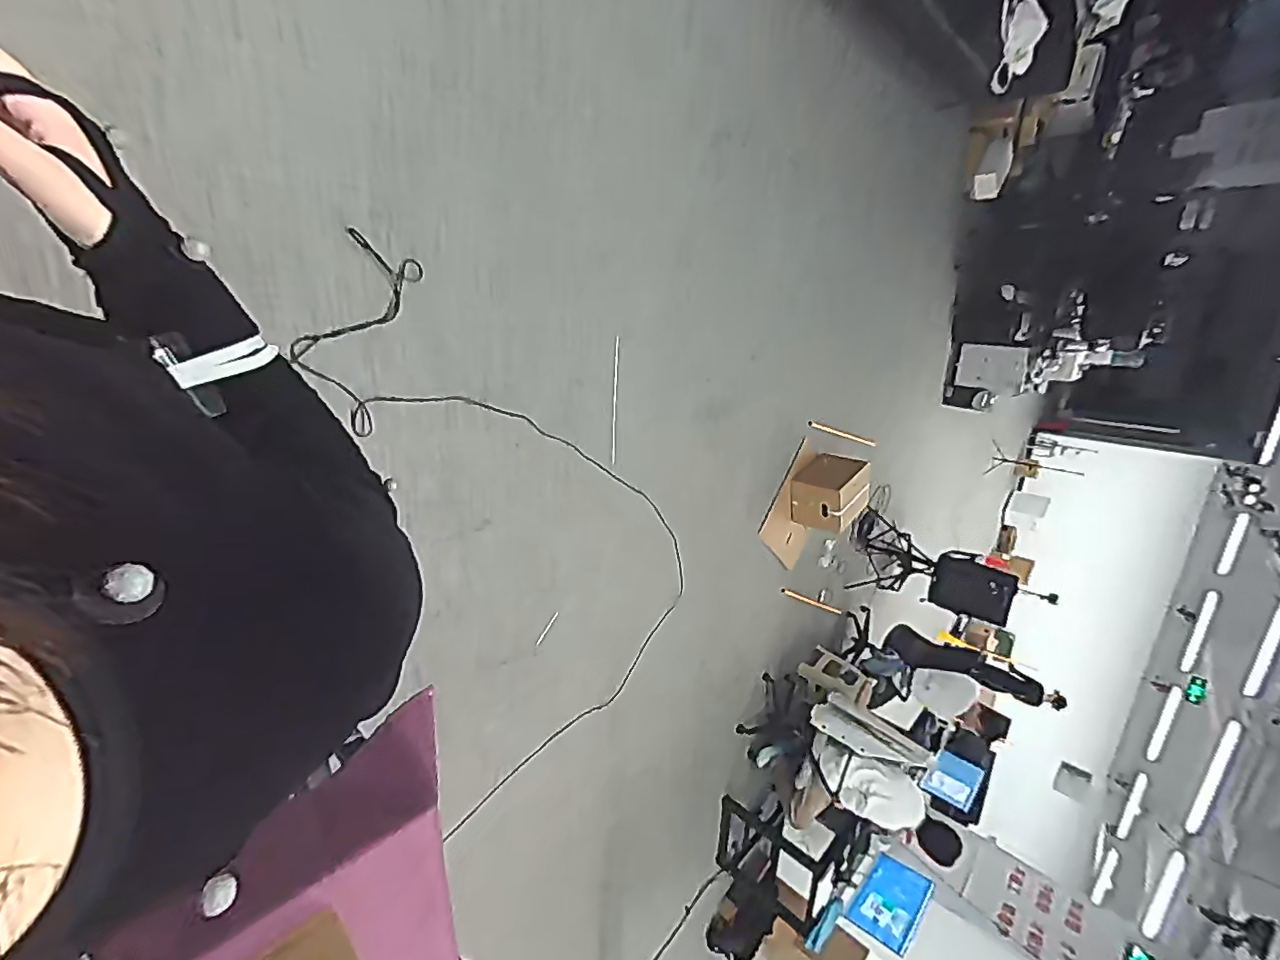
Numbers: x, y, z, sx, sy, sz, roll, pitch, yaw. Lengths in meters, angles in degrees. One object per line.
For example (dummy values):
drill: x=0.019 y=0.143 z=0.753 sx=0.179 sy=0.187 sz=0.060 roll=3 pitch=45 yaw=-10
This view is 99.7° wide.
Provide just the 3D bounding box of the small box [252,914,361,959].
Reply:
small box: x=-0.494 y=0.793 z=0.787 sx=0.168 sy=0.176 sz=0.179 roll=-17 pitch=116 yaw=-43
